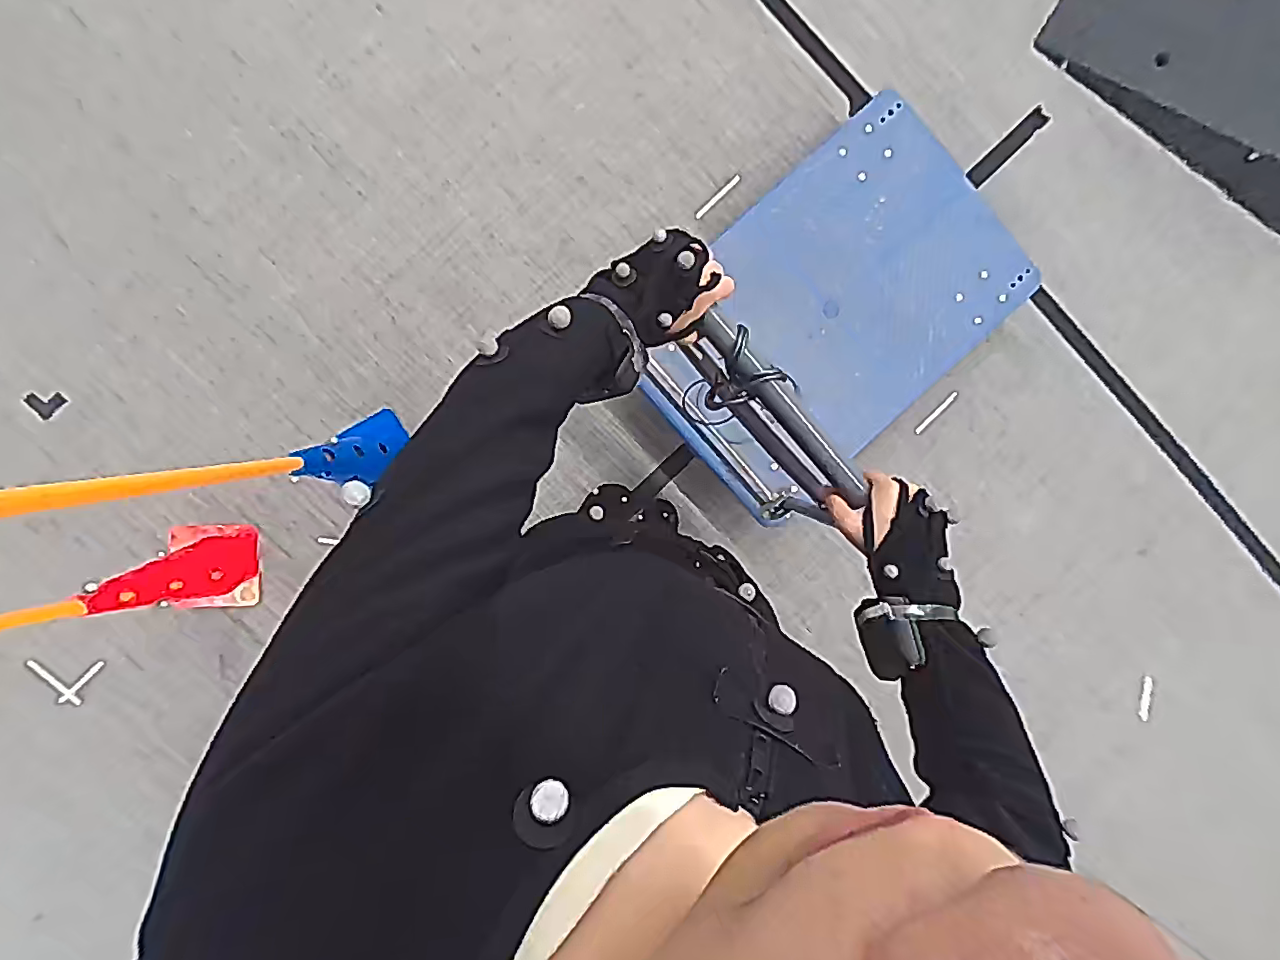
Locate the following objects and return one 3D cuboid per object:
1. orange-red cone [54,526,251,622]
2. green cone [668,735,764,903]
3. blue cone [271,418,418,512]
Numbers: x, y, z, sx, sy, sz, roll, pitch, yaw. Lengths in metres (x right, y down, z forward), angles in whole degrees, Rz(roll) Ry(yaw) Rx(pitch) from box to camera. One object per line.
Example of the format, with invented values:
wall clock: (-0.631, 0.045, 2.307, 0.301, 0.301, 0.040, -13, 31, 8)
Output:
orange-red cone: (-1.008, 0.217, 1.108, 0.199, 0.360, 0.198, 1, 93, -6)
green cone: (0.208, 0.788, 1.226, 0.200, 0.368, 0.202, 32, 91, -5)
blue cone: (-0.641, -0.030, 1.143, 0.192, 0.380, 0.193, -29, 94, -2)
